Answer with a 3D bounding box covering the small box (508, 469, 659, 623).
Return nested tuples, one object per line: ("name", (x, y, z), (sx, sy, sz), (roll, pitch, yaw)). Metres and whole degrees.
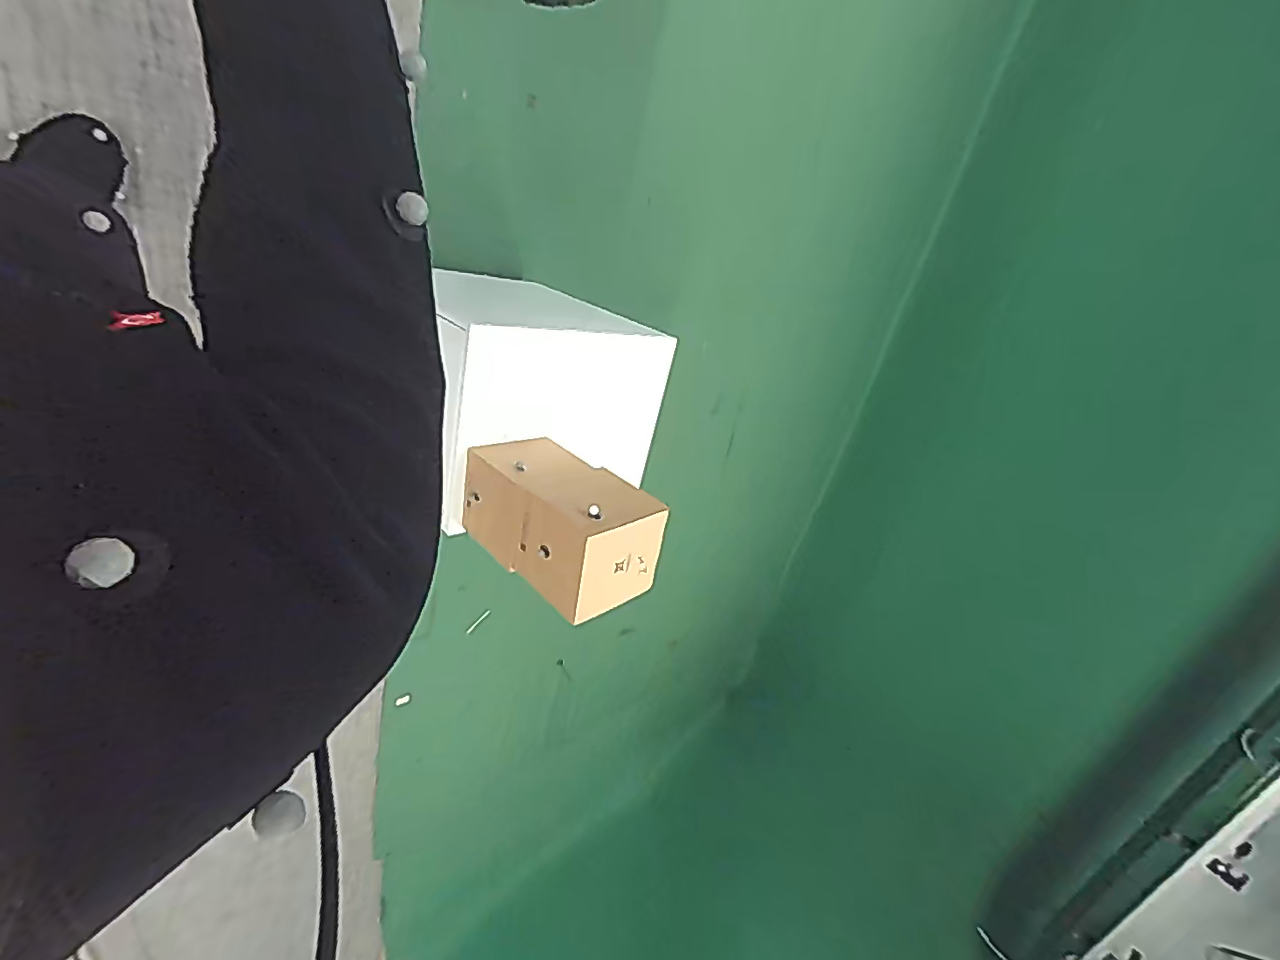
("small box", (-0.100, 0.098, 0.895), (0.179, 0.176, 0.168), (-16, 128, -44))
